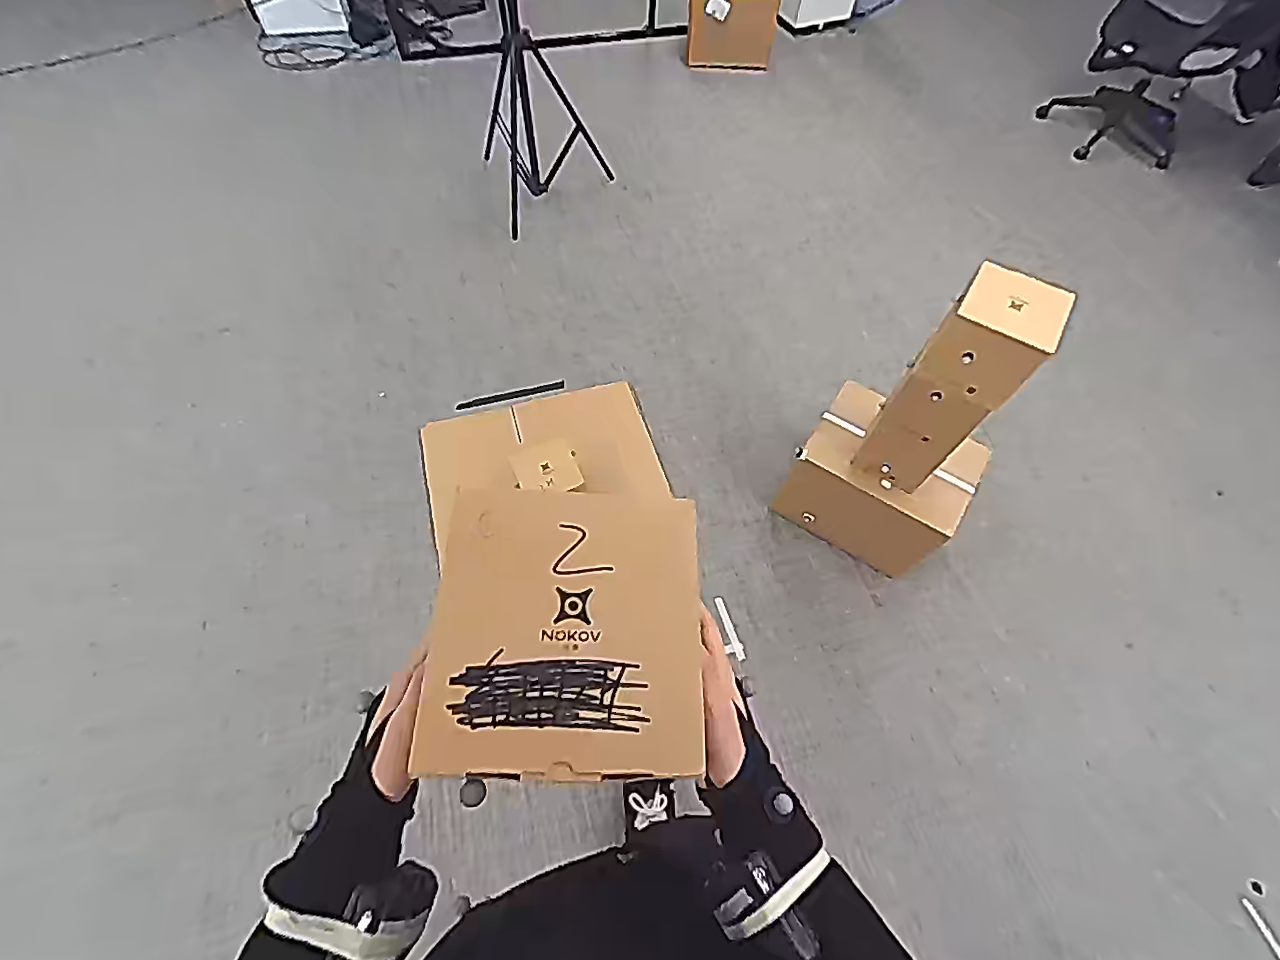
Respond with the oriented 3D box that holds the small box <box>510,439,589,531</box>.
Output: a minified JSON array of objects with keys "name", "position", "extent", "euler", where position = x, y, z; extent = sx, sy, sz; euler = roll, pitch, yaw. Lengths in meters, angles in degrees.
[{"name":"small box","position":[-0.255,0.018,1.549],"extent":[0.168,0.176,0.179],"euler":[-23,64,-12]}]

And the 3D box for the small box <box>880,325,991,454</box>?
[{"name":"small box","position":[0.648,-0.191,1.165],"extent":[0.168,0.176,0.179],"euler":[30,63,15]}]

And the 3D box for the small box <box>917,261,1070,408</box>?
[{"name":"small box","position":[0.655,-0.269,1.021],"extent":[0.168,0.176,0.179],"euler":[30,63,15]}]

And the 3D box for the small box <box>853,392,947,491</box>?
[{"name":"small box","position":[0.642,-0.107,1.305],"extent":[0.168,0.176,0.179],"euler":[30,64,15]}]
